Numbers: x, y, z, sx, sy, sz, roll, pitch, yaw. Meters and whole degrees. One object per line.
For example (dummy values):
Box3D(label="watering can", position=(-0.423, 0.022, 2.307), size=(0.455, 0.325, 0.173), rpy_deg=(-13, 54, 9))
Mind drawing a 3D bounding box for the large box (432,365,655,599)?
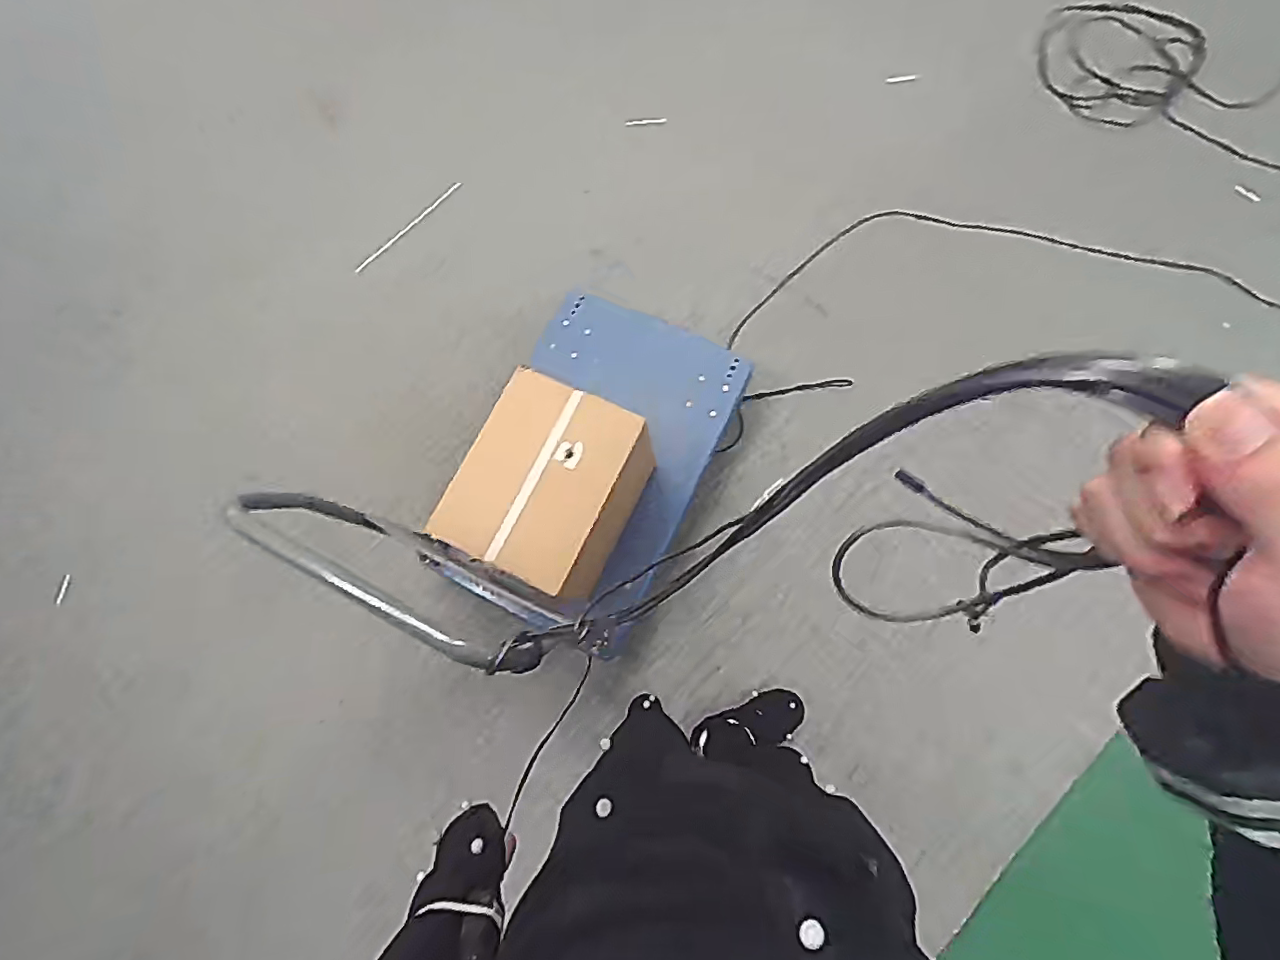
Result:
Box3D(label="large box", position=(-0.191, 0.021, 1.247), size=(0.320, 0.320, 0.408), rpy_deg=(24, 78, 11))
